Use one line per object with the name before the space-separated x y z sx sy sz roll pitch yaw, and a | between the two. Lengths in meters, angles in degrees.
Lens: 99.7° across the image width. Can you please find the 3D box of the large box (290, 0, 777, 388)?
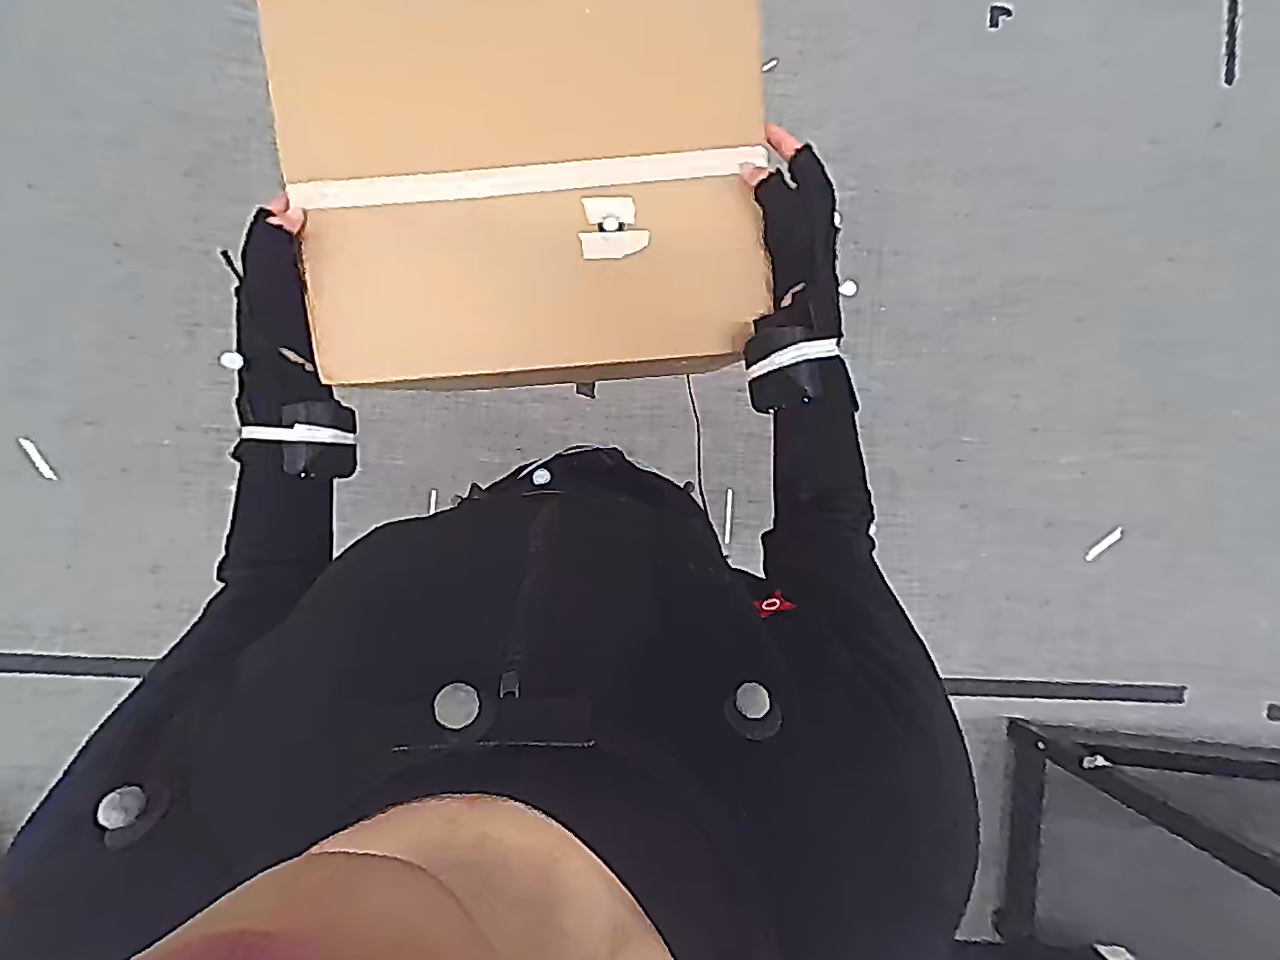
large box | -0.090 -0.280 0.619 0.408 0.320 0.320 -4 99 -2
